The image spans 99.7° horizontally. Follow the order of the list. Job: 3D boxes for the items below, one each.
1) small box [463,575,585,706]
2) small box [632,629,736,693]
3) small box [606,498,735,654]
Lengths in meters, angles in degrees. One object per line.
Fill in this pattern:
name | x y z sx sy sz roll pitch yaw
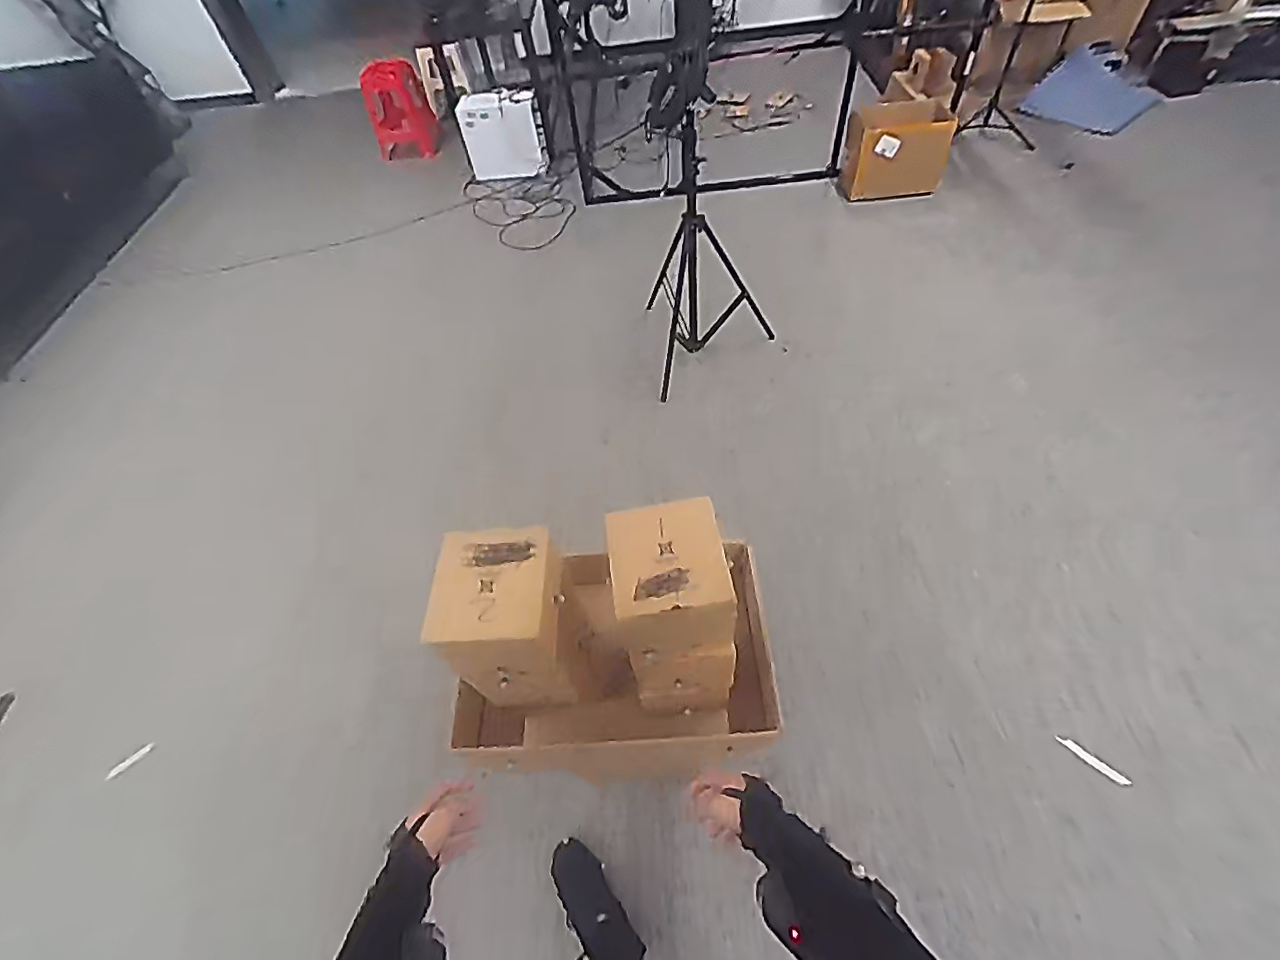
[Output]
small box | -0.195 0.290 0.970 0.168 0.176 0.179 -5 52 5
small box | 0.070 0.261 0.959 0.168 0.176 0.179 -7 54 2
small box | 0.047 0.155 0.835 0.168 0.176 0.179 -9 53 0
